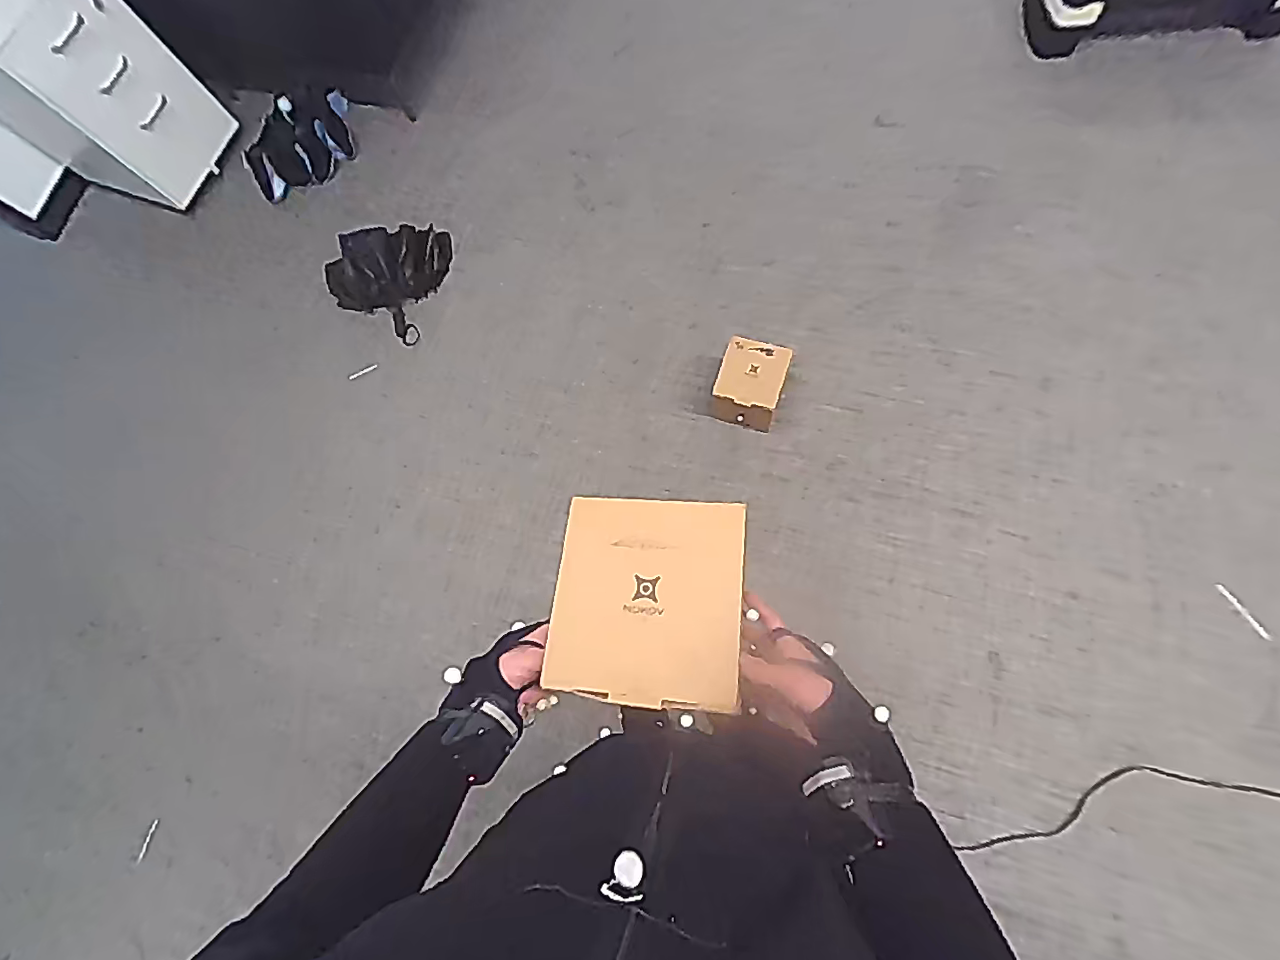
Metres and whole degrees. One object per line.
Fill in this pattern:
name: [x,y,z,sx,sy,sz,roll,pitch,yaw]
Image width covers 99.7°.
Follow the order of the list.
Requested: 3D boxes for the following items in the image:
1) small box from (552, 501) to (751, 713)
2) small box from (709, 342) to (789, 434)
small box: [0.026,0.134,0.547,0.168,0.176,0.179,2,66,11]
small box: [0.294,-0.242,1.468,0.168,0.176,0.179,17,79,12]
